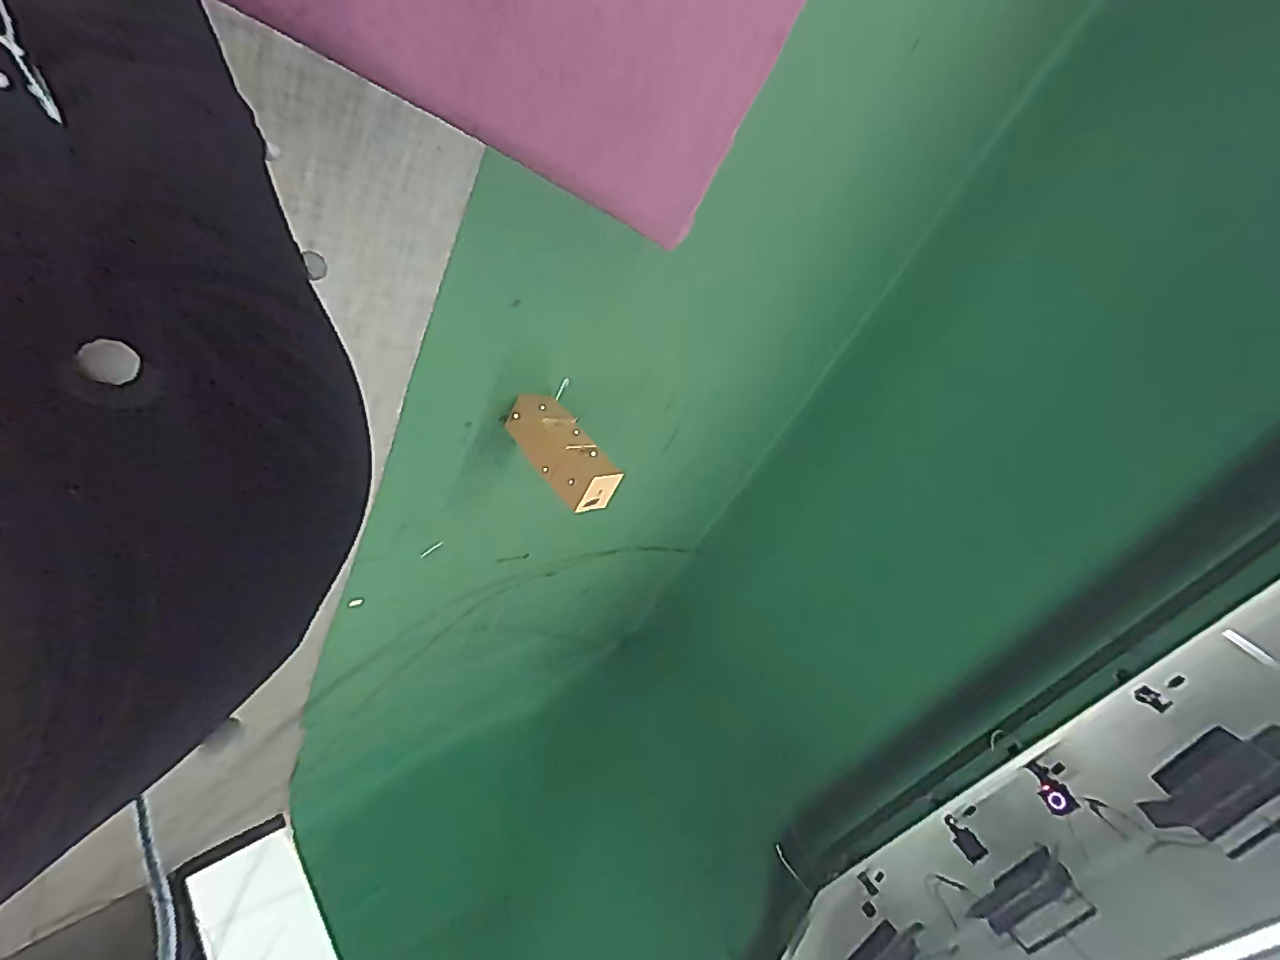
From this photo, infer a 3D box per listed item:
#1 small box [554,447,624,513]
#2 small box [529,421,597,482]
[{"bbox_3d":[-0.198,-0.004,2.025,0.168,0.176,0.179,-8,137,-50],"label":"small box"},{"bbox_3d":[-0.303,-0.115,2.087,0.168,0.176,0.179,-6,136,-51],"label":"small box"}]
